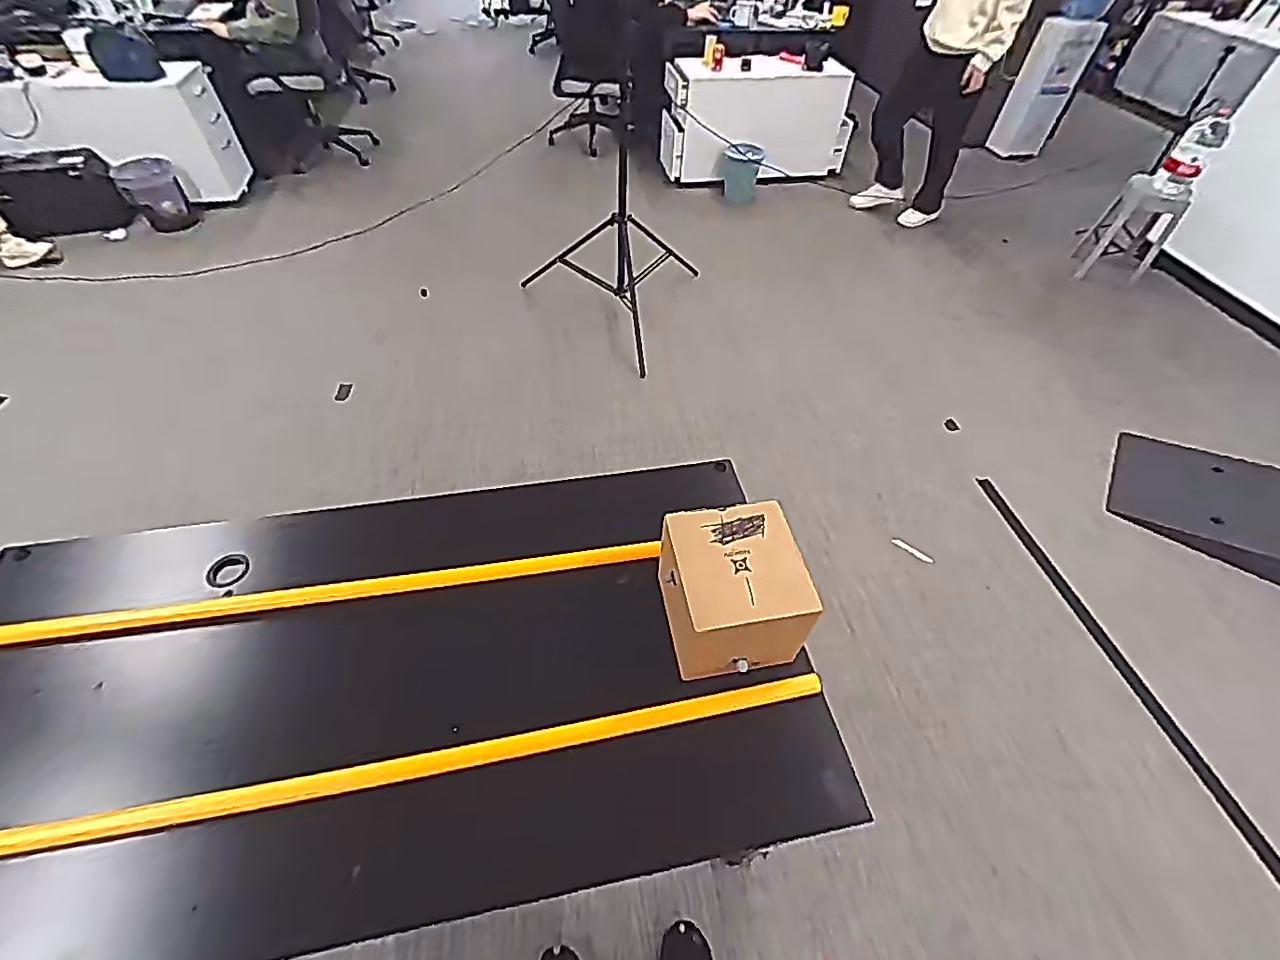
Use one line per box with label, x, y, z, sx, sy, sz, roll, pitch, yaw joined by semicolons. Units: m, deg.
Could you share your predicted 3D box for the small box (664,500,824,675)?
small box;0.131;0.153;0.769;0.168;0.176;0.179;-7;51;-7
